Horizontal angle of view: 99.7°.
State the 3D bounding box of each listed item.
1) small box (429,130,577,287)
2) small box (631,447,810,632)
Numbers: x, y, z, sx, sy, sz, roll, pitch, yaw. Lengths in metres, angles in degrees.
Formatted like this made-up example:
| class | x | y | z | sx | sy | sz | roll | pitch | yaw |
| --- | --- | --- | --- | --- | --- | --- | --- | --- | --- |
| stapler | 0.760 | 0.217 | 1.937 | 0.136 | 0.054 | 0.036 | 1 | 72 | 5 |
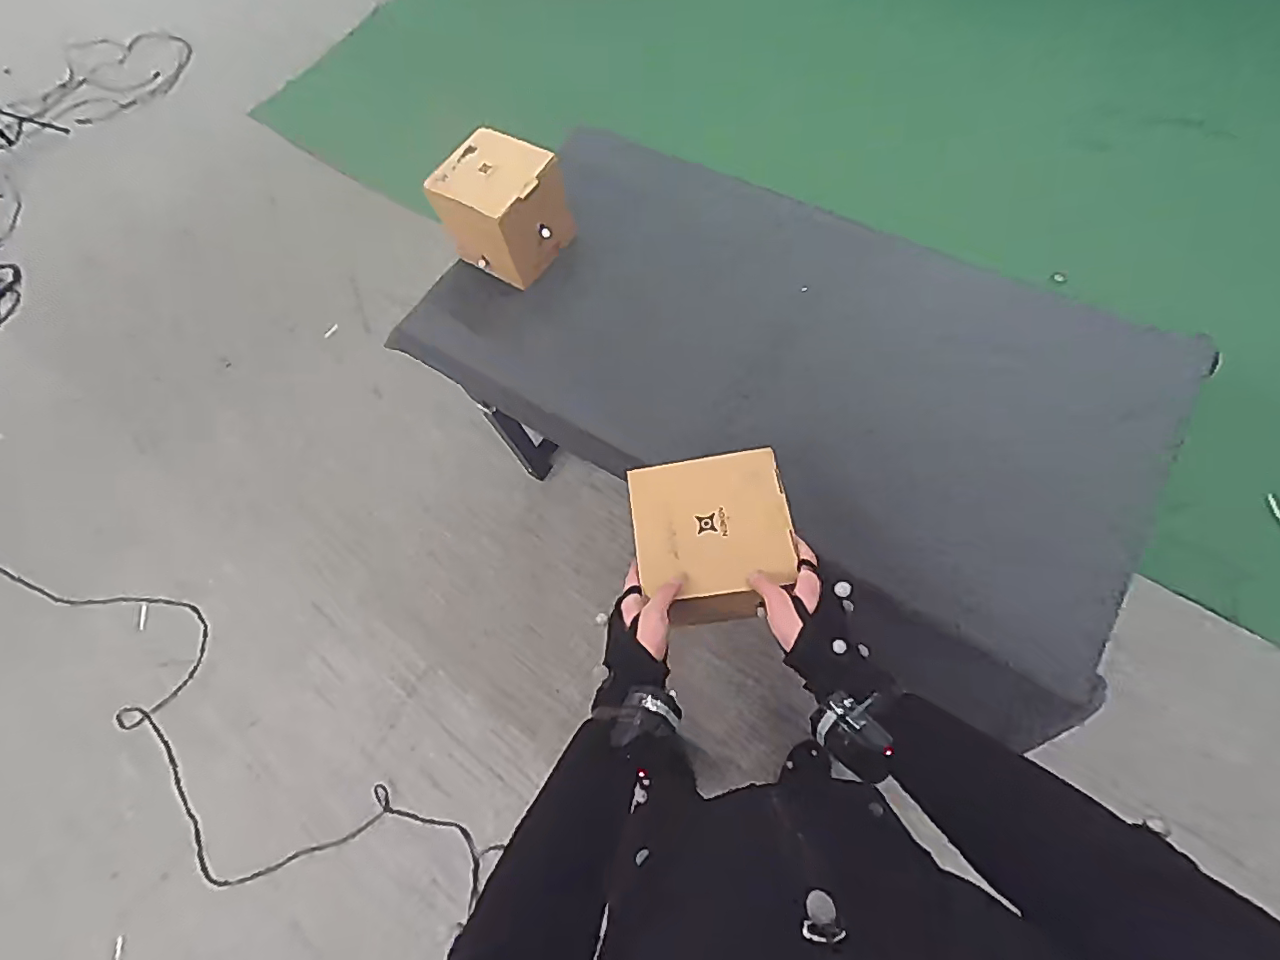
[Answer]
| class | x | y | z | sx | sy | sz | roll | pitch | yaw |
| --- | --- | --- | --- | --- | --- | --- | --- | --- | --- |
| small box | -0.237 | -0.485 | 0.987 | 0.179 | 0.176 | 0.168 | 31 | 72 | 16 |
| small box | 0.094 | 0.082 | 0.668 | 0.179 | 0.176 | 0.168 | -10 | 62 | 6 |
